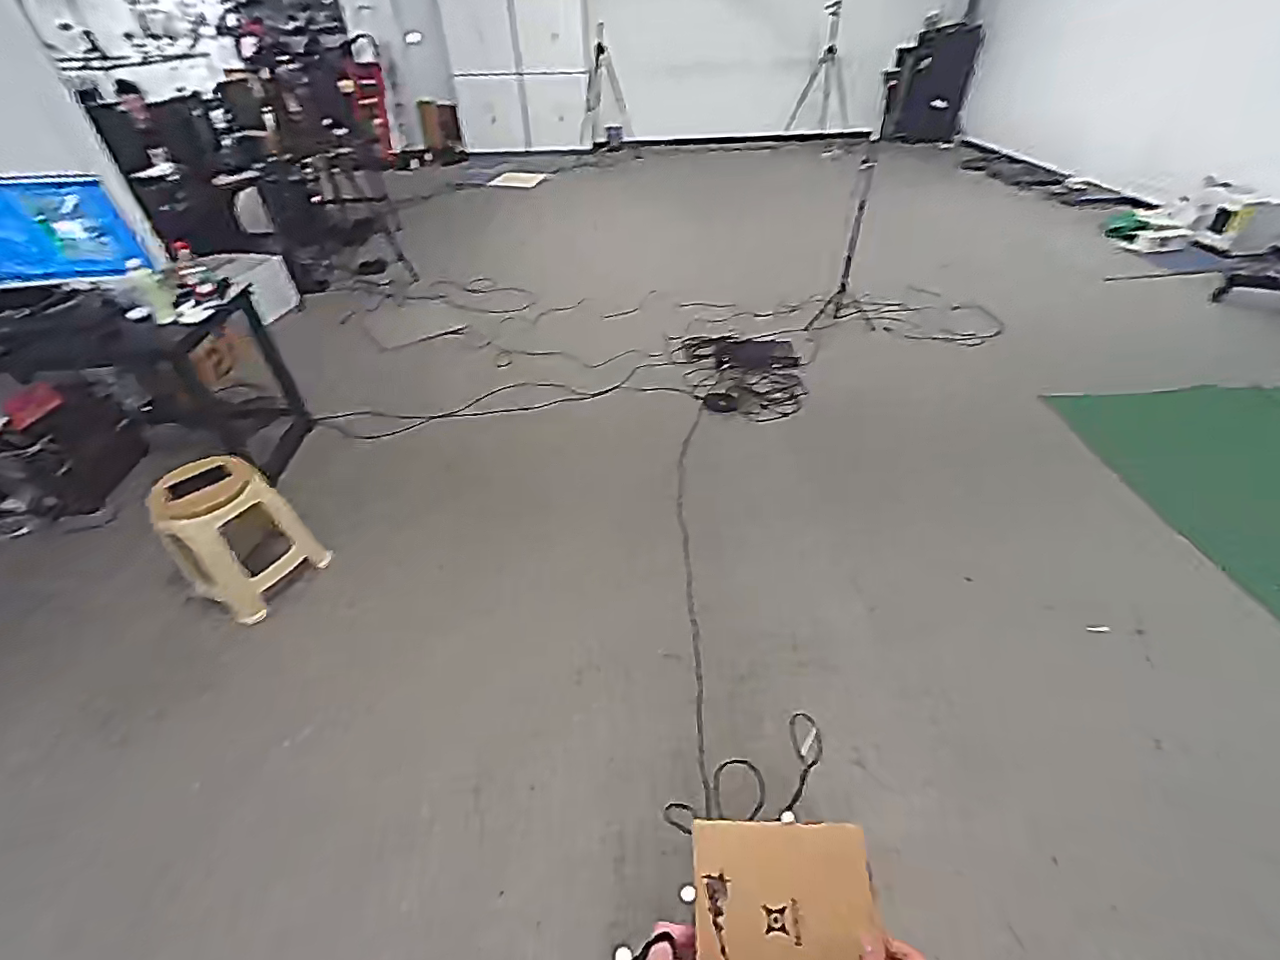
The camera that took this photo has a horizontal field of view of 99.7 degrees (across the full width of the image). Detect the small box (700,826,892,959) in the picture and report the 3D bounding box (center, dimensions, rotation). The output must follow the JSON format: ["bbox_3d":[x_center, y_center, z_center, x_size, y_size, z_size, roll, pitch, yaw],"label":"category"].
[{"bbox_3d":[0.160,0.477,0.583,0.179,0.176,0.168,-5,53,9],"label":"small box"}]
